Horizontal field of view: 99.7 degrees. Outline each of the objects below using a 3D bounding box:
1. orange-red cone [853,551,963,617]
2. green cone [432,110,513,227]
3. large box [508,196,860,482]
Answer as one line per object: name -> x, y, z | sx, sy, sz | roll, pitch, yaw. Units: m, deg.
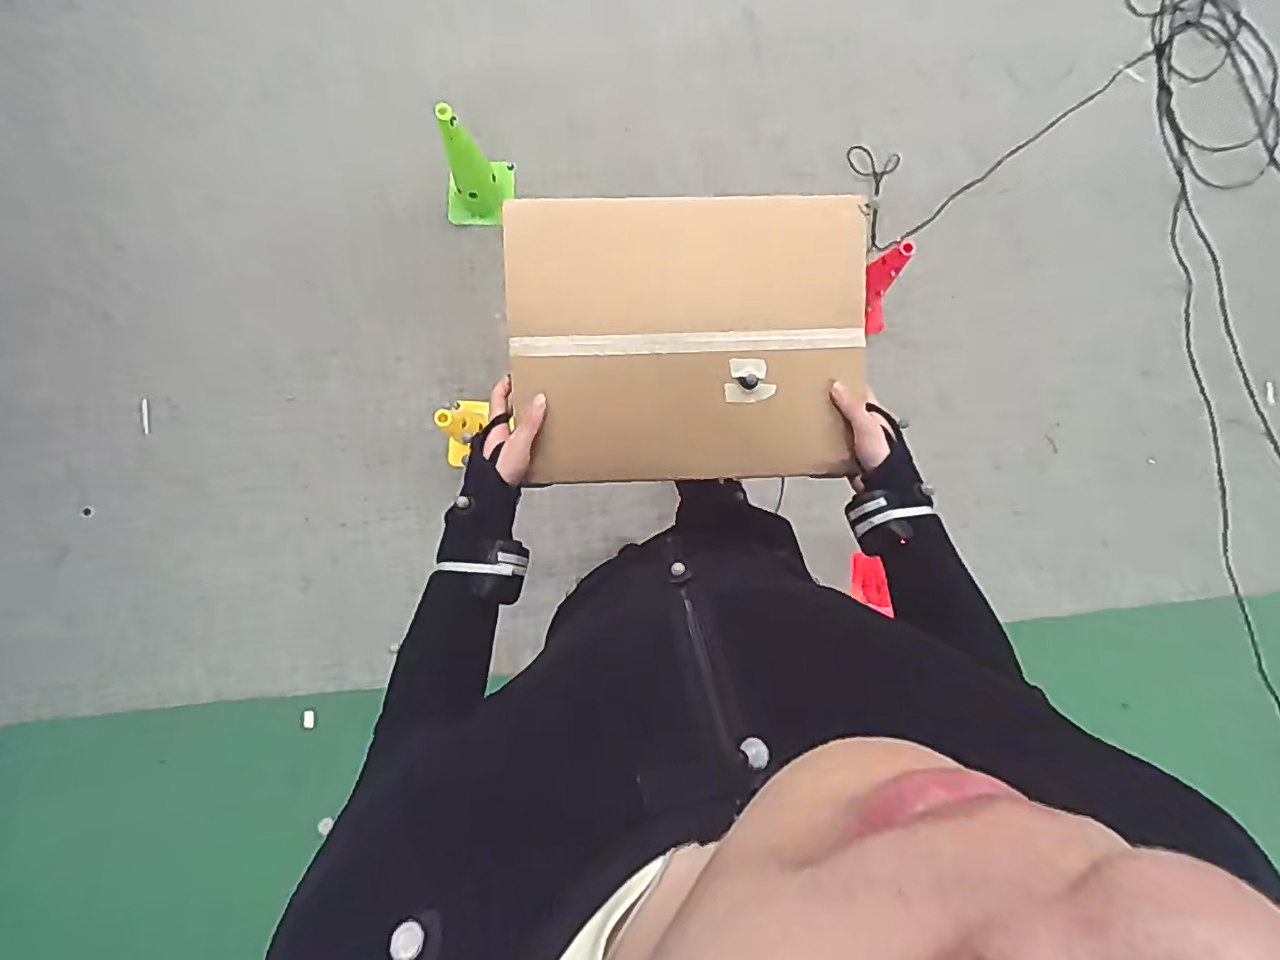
orange-red cone -> 0.749, 0.310, 1.460 | 0.199, 0.360, 0.198 | 2, 88, -2
green cone -> -0.492, -0.884, 1.493 | 0.200, 0.368, 0.202 | 0, 89, 0
large box -> 0.049, -0.176, 0.770 | 0.408, 0.320, 0.320 | -3, 97, -3
